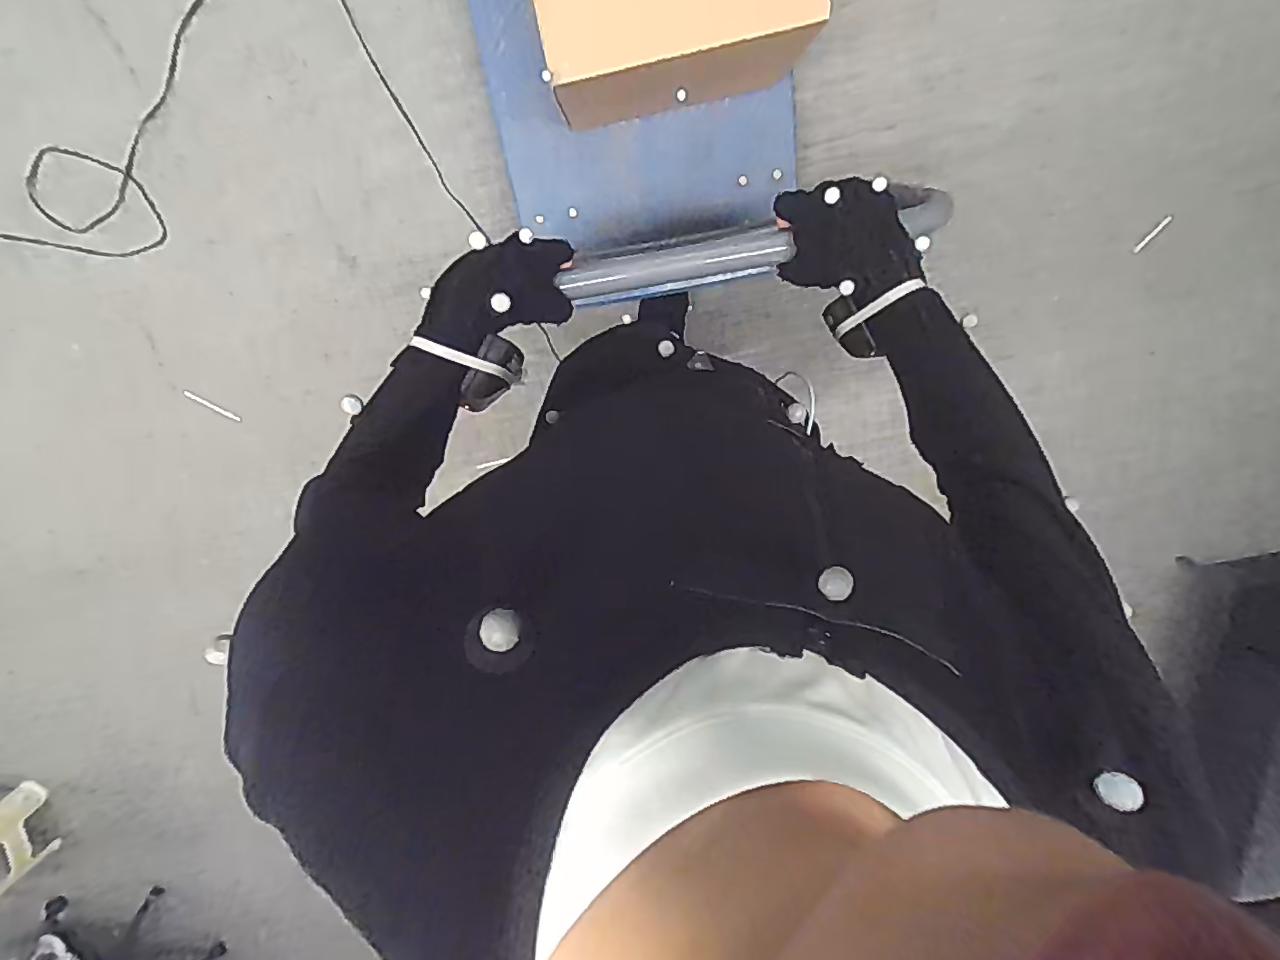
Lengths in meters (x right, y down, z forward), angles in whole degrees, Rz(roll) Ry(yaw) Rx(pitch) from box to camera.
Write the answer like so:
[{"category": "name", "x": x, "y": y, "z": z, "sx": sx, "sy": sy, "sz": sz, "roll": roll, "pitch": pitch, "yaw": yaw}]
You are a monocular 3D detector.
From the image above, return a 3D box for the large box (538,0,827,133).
[{"category": "large box", "x": 0.043, "y": -0.807, "z": 0.869, "sx": 0.408, "sy": 0.320, "sz": 0.320, "roll": -11, "pitch": 111, "yaw": 5}]
